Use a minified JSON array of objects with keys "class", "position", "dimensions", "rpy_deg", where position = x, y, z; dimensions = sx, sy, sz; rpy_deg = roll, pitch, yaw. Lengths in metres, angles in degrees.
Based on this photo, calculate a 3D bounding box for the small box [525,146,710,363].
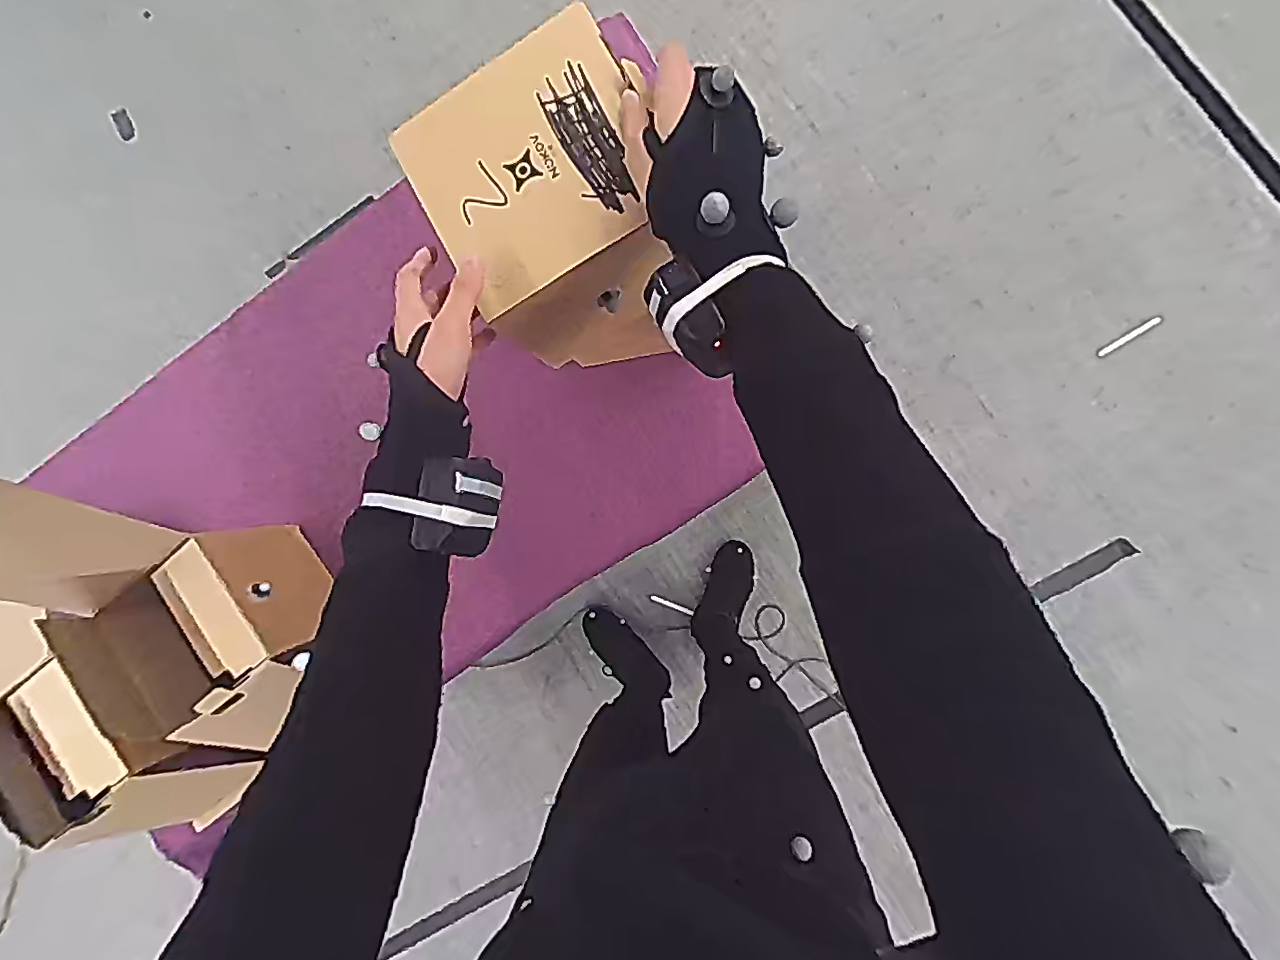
[{"class":"small box","position":[-0.014,-0.242,0.626],"dimensions":[0.179,0.176,0.168],"rpy_deg":[-7,89,9]}]

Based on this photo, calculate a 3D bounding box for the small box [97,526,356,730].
[{"class":"small box","position":[-0.517,0.176,0.702],"dimensions":[0.168,0.176,0.179],"rpy_deg":[-36,85,6]}]
